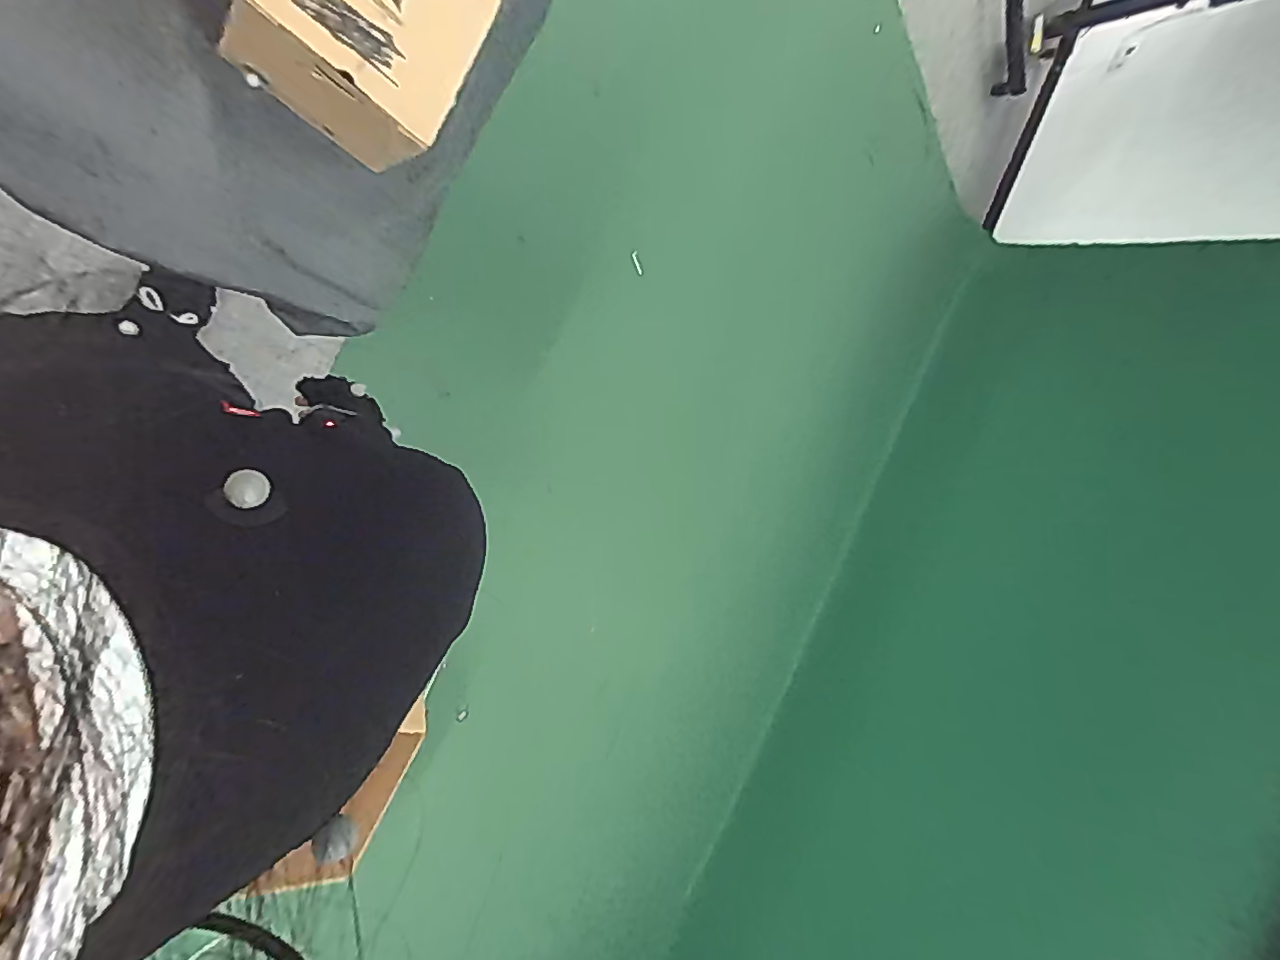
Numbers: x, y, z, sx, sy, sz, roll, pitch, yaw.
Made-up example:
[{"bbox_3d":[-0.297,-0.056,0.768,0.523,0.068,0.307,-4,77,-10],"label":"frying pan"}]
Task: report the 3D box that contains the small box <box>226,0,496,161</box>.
[{"bbox_3d":[-0.283,-0.458,0.543,0.168,0.176,0.179,28,85,-46],"label":"small box"}]
